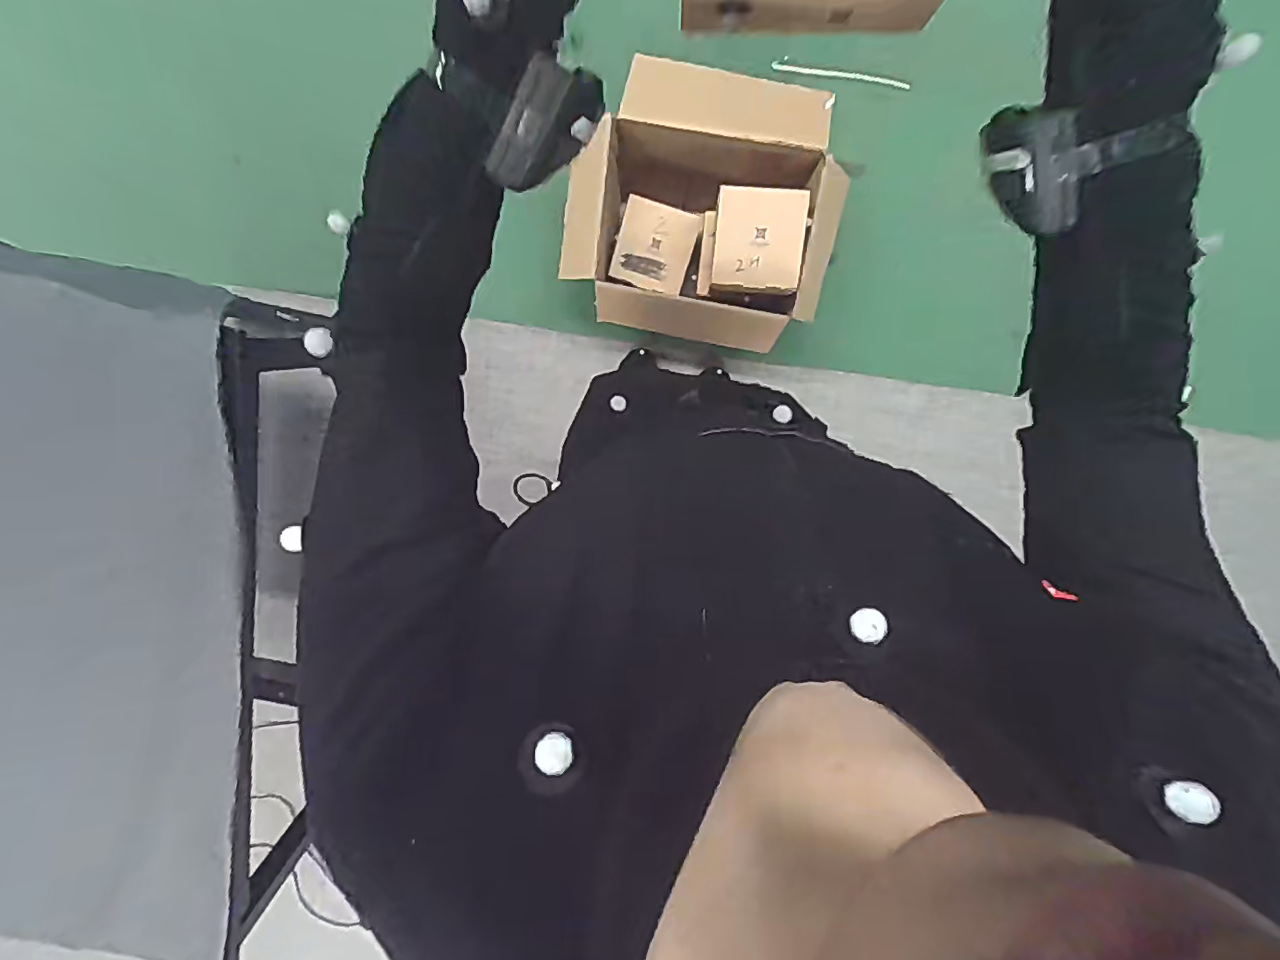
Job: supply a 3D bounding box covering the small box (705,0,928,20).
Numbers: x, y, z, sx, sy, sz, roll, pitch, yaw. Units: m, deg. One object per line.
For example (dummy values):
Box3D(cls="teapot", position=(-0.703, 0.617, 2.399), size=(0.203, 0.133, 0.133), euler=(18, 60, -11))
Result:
Box3D(cls="small box", position=(0.107, -0.375, 0.270), size=(0.168, 0.176, 0.179), euler=(2, 102, 2))
